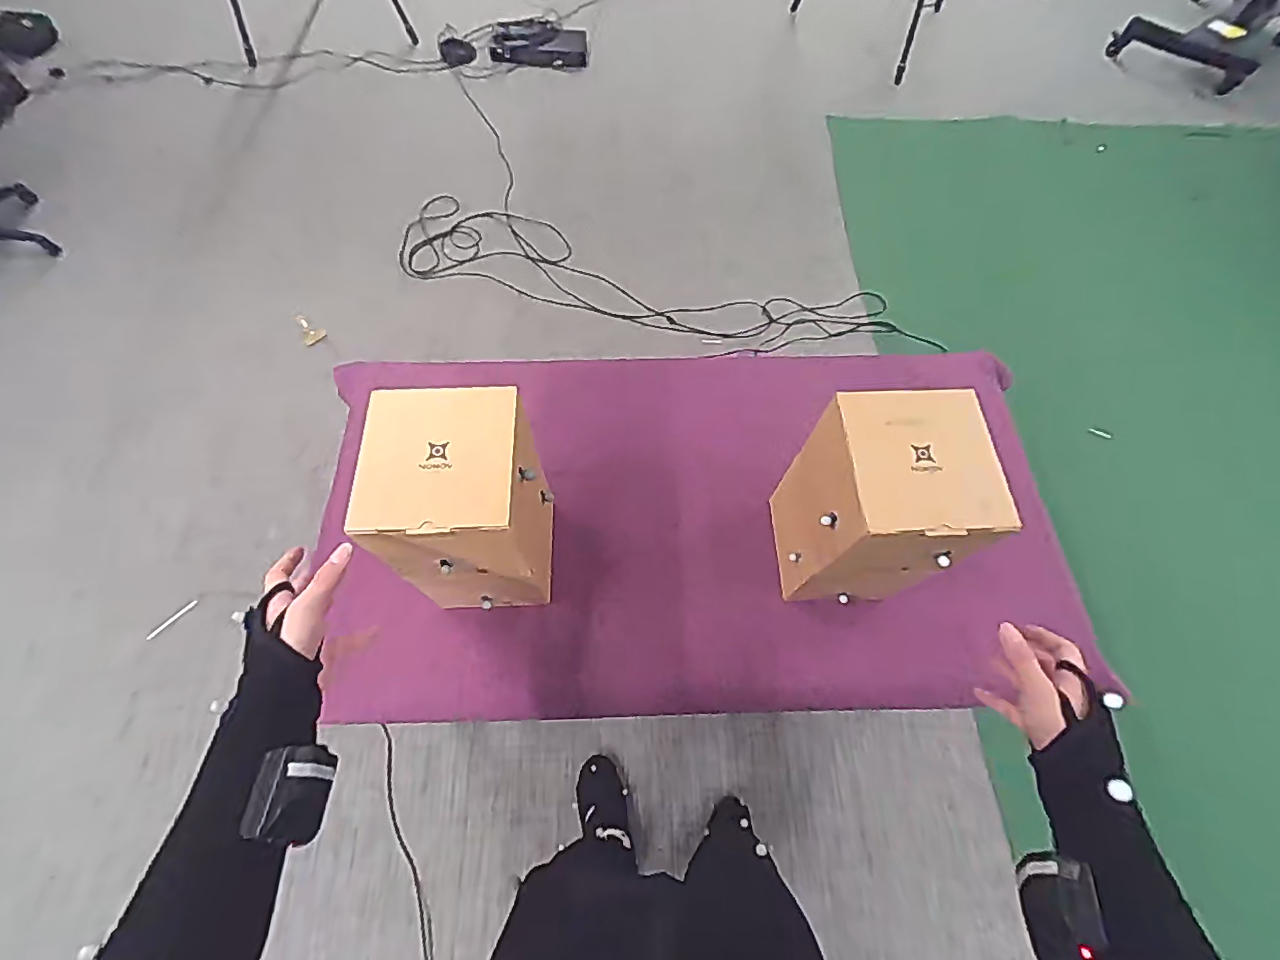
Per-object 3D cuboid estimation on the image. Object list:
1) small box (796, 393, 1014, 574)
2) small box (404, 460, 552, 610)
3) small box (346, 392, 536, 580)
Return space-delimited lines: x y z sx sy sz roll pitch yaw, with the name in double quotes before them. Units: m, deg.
"small box" 0.302 0.014 0.663 0.168 0.176 0.179 -1 64 -2
"small box" -0.225 0.086 0.802 0.168 0.176 0.179 -2 64 -1
"small box" -0.222 0.012 0.657 0.168 0.176 0.179 -2 64 -3
